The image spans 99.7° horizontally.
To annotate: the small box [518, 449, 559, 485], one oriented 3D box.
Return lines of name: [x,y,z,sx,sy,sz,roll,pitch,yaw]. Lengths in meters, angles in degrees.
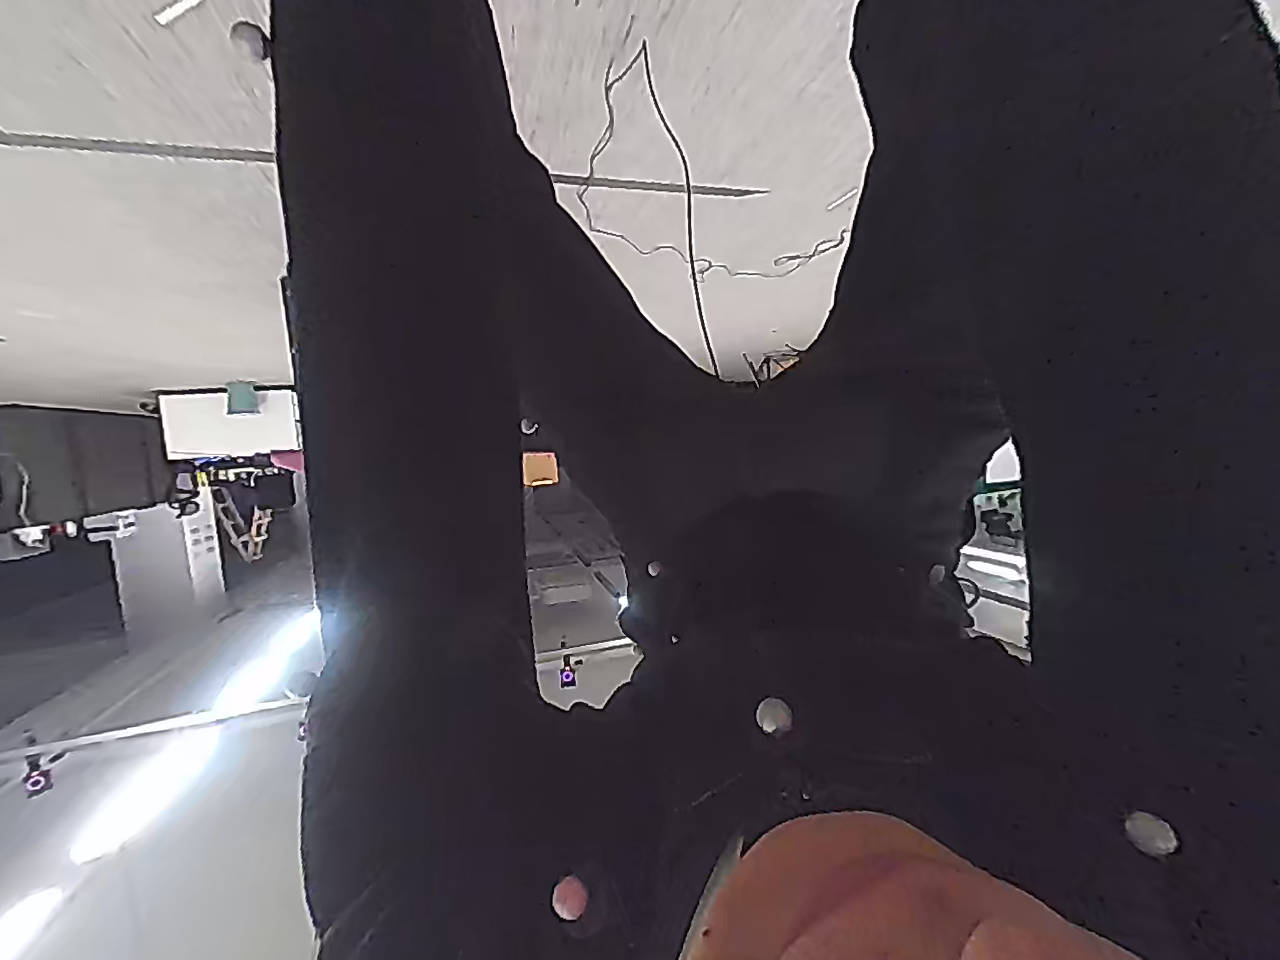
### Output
small box: [-0.522,-0.069,2.755,0.168,0.176,0.179,-6,-175,-23]
